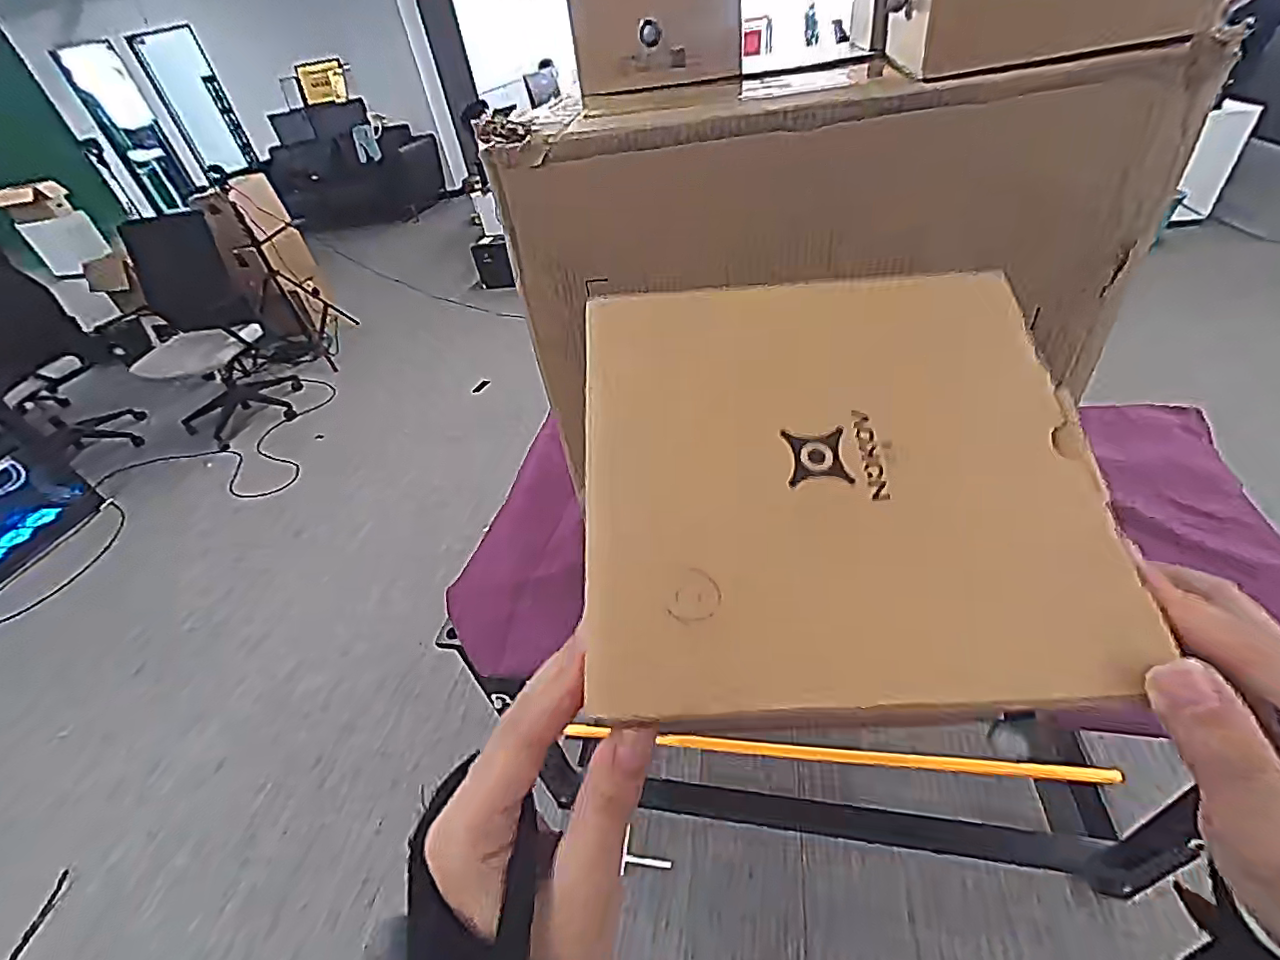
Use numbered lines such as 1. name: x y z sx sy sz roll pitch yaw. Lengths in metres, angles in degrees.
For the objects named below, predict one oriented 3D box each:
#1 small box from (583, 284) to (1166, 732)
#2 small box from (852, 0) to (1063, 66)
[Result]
1. small box: 0.072 0.030 0.269 0.179 0.176 0.168 -3 63 2
2. small box: 0.307 -0.523 0.527 0.168 0.176 0.179 0 41 14
